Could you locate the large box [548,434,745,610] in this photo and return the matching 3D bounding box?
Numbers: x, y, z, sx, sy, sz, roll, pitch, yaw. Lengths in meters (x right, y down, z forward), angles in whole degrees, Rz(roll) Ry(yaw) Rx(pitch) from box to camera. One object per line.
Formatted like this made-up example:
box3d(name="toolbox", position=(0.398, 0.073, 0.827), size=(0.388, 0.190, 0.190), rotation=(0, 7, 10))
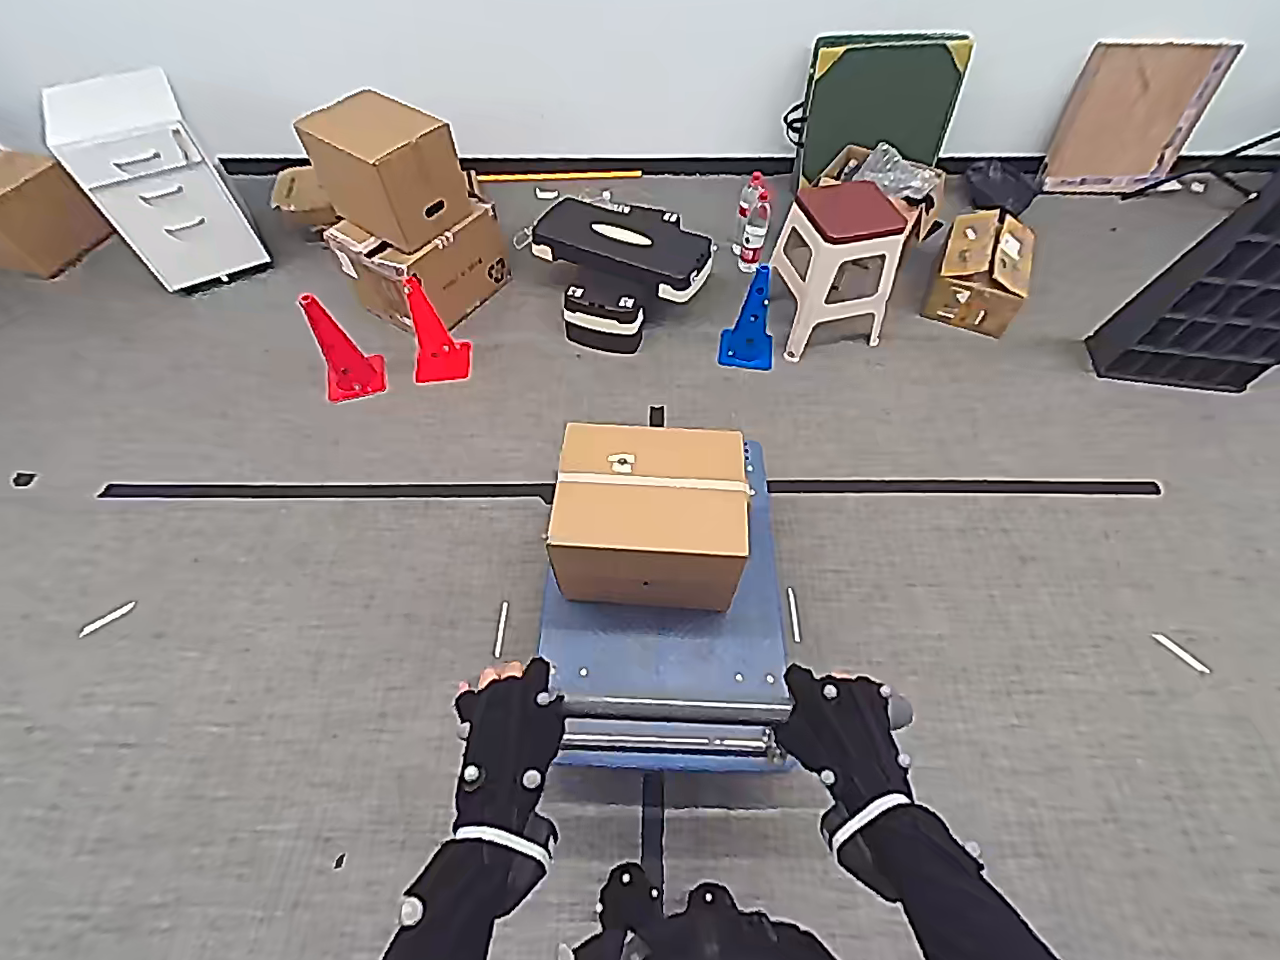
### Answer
box3d(name="large box", position=(0.023, 0.108, 1.287), size=(0.408, 0.320, 0.320), rotation=(3, 56, 3))
